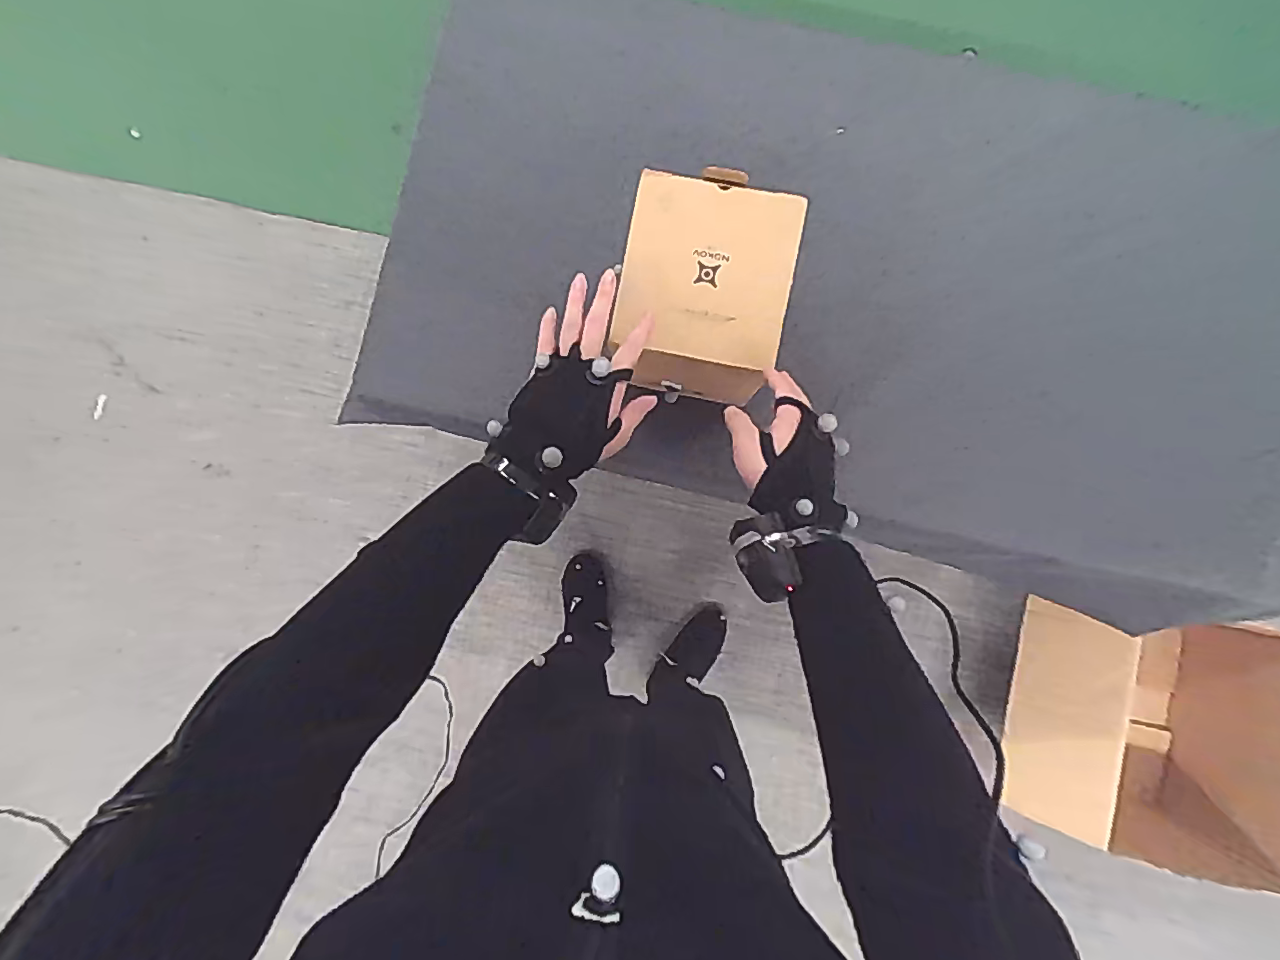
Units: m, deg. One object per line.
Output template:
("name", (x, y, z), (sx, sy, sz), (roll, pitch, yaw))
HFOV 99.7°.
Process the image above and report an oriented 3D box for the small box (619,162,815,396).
("small box", (0.075, -0.206, 0.599), (0.168, 0.176, 0.179), (11, 88, 2))
